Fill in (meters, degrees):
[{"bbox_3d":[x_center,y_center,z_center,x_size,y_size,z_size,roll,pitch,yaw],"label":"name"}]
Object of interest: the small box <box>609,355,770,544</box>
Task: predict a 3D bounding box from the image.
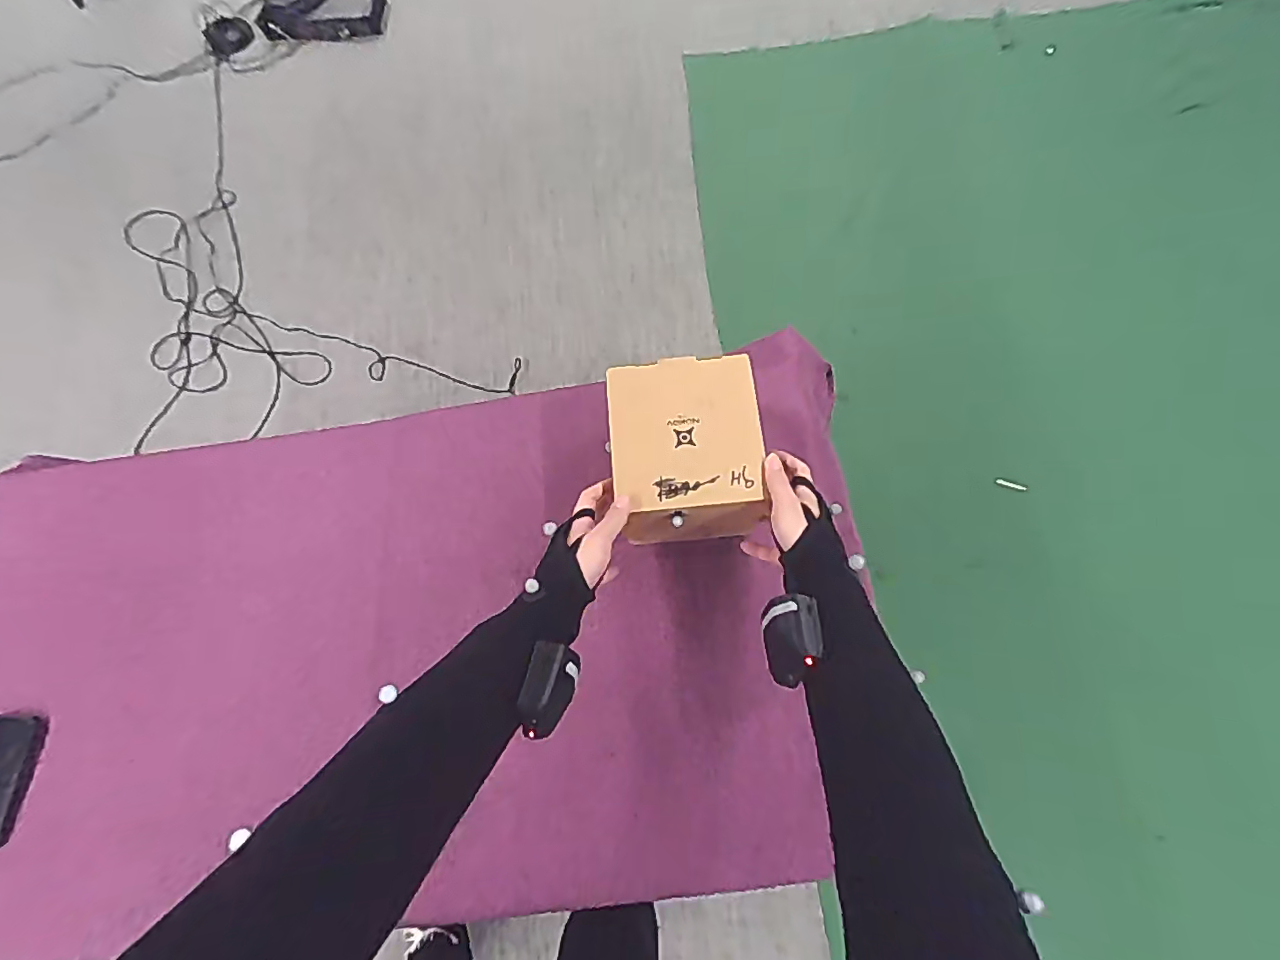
[{"bbox_3d":[0.055,-0.029,0.665,0.168,0.176,0.179,-5,72,3],"label":"small box"}]
